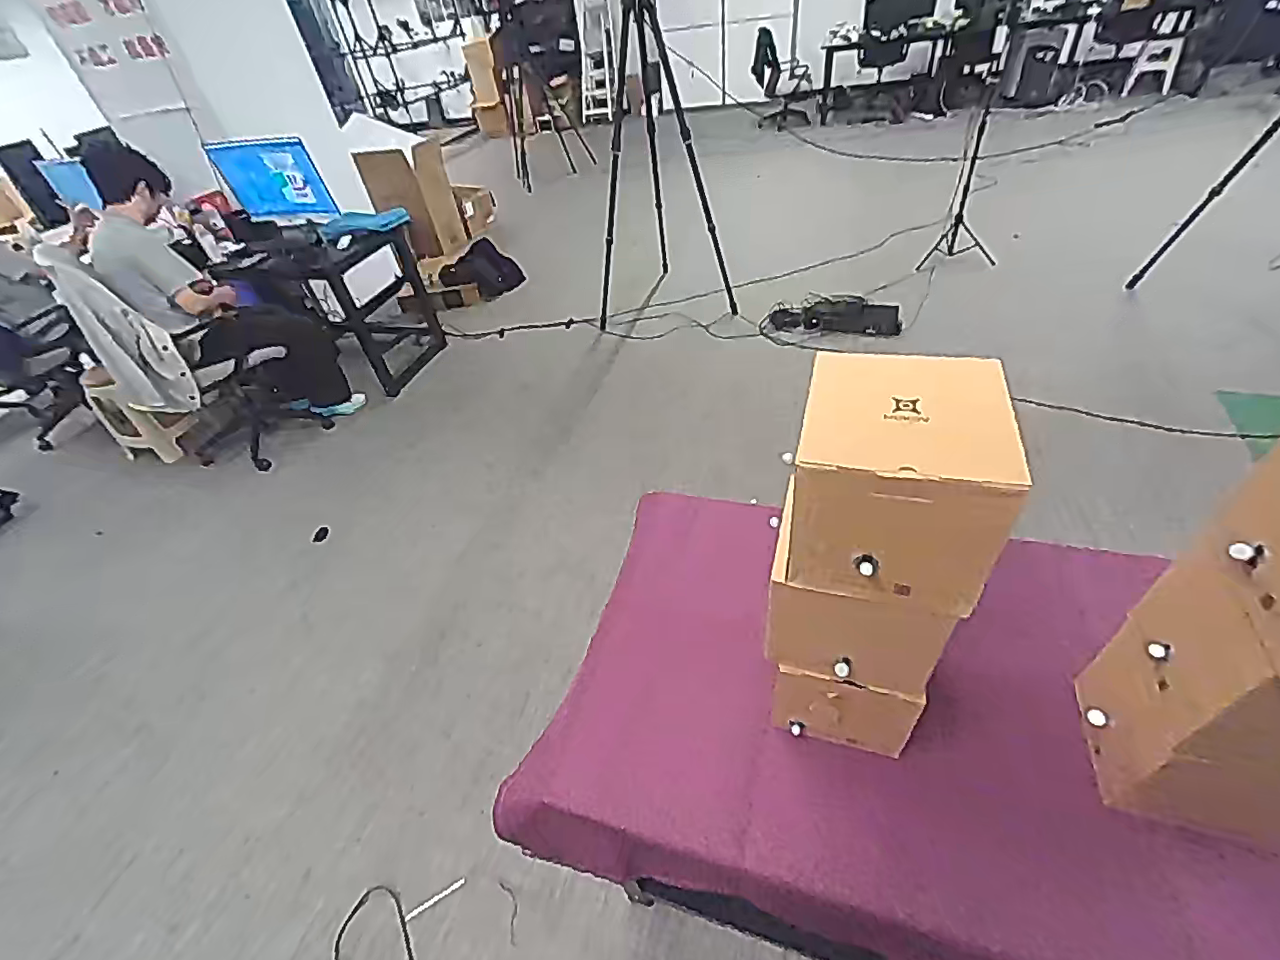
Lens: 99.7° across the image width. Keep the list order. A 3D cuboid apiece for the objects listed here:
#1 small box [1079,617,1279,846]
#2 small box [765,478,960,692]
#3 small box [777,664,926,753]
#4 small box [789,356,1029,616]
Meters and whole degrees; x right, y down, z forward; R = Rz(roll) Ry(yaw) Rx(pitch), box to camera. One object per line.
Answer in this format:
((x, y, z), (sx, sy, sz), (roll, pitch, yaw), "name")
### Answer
((0.653, 0.287, 0.617), (0.179, 0.176, 0.168), (8, 45, 19), "small box")
((0.250, 0.122, 0.633), (0.179, 0.176, 0.168), (9, 45, 18), "small box")
((0.282, 0.243, 0.741), (0.168, 0.176, 0.179), (7, 44, 18), "small box")
((0.240, 0.001, 0.524), (0.168, 0.176, 0.179), (7, 46, 18), "small box")
